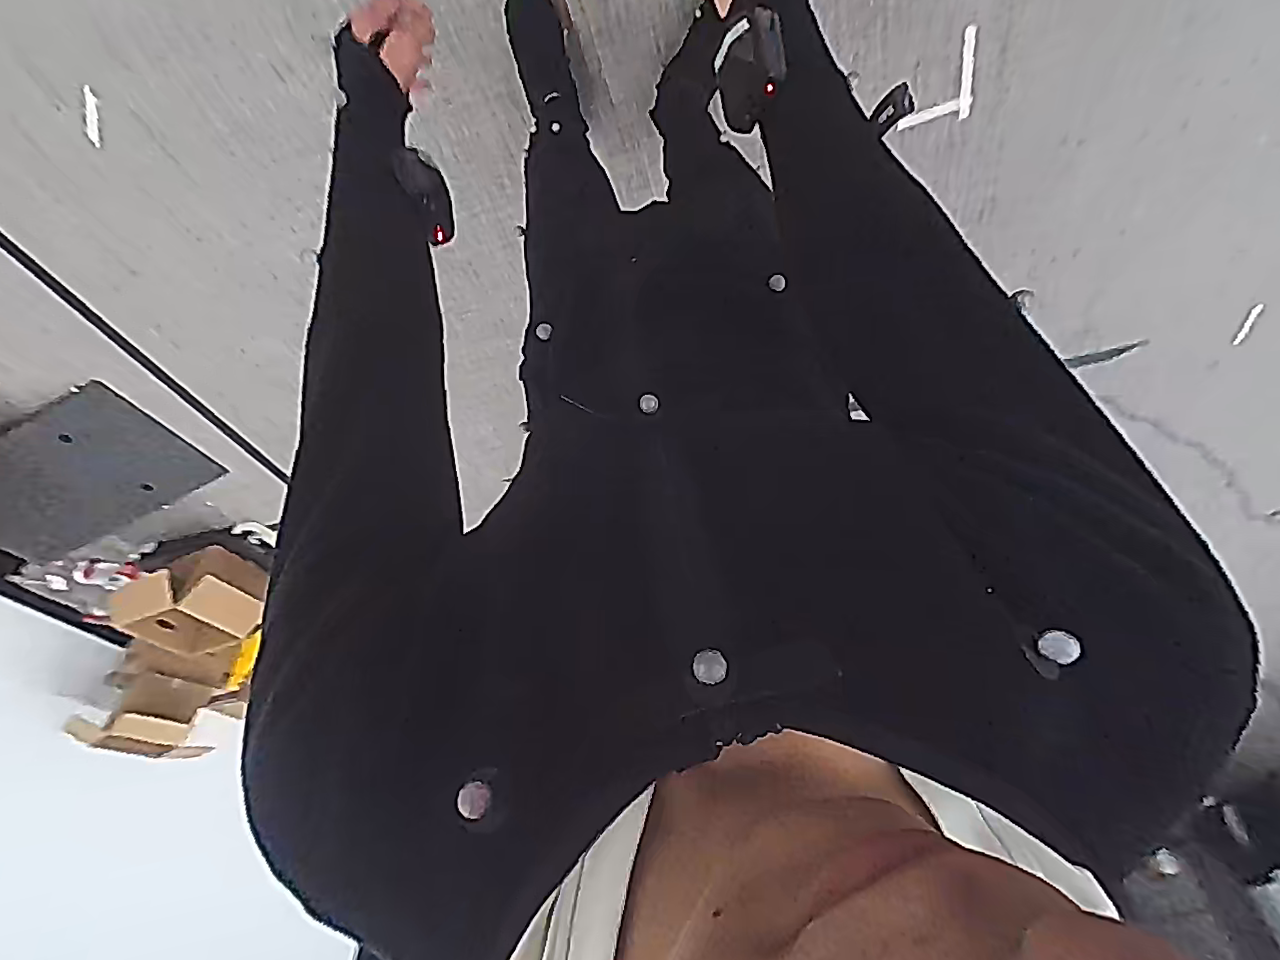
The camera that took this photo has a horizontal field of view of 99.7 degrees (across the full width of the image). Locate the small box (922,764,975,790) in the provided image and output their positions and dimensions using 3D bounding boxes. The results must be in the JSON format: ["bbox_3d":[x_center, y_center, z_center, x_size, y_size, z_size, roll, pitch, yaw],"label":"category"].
[{"bbox_3d":[1.258,1.172,2.247,0.168,0.176,0.179,-11,135,12],"label":"small box"}]

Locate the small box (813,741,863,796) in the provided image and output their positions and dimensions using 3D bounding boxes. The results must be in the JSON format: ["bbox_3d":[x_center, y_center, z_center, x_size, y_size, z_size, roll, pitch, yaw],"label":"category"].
[{"bbox_3d":[0.852,1.249,2.337,0.179,0.176,0.168,-11,135,11],"label":"small box"}]
